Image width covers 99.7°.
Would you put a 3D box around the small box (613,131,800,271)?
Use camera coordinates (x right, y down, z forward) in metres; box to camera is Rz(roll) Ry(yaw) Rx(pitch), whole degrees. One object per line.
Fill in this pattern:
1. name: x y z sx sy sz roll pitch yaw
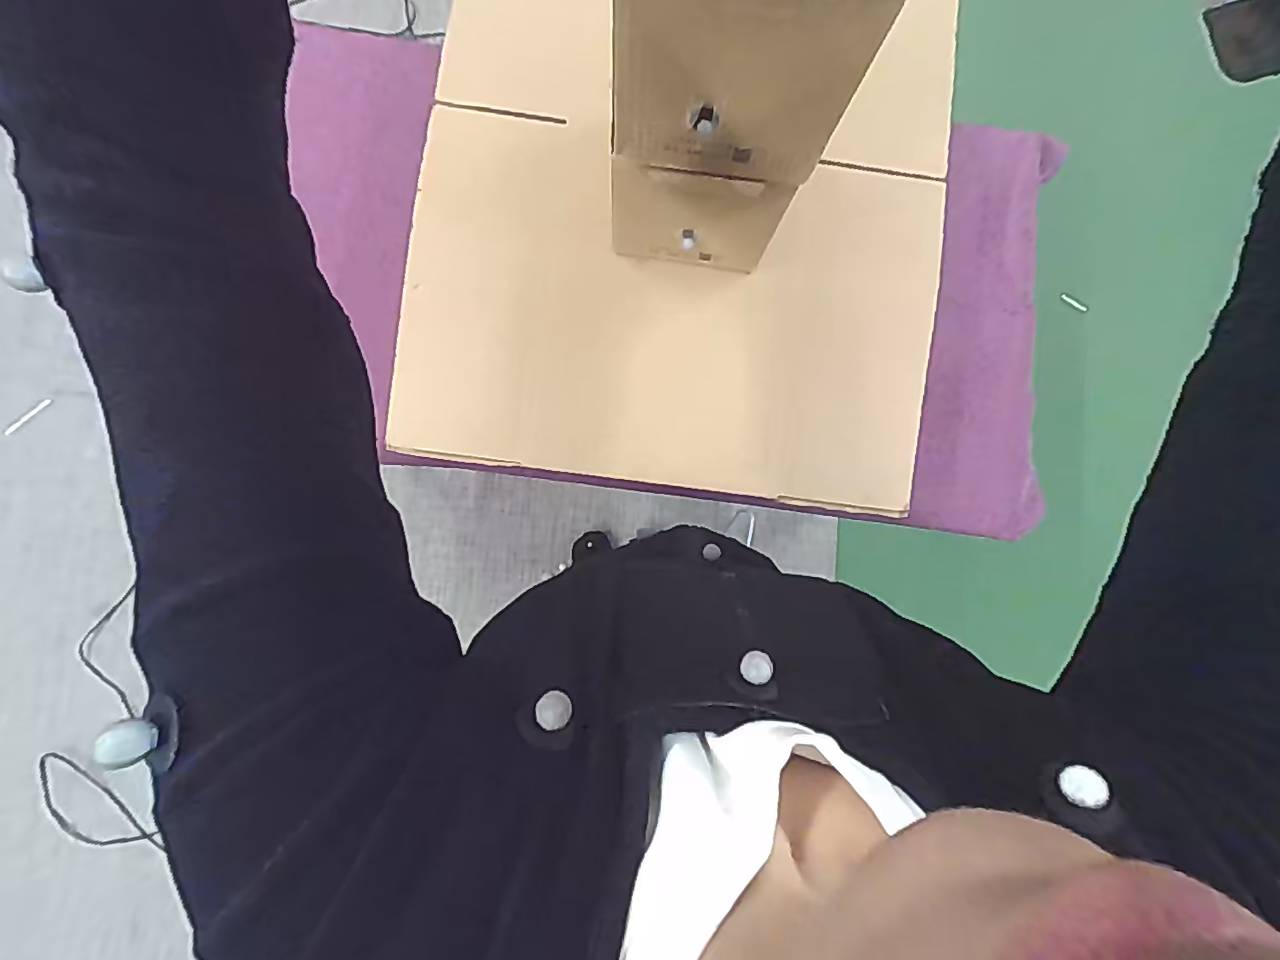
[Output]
1. small box: 0.064 -0.342 0.546 0.168 0.176 0.179 8 84 -1

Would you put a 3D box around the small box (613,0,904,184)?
1. small box: 0.070 -0.351 0.383 0.168 0.176 0.179 6 85 -2
